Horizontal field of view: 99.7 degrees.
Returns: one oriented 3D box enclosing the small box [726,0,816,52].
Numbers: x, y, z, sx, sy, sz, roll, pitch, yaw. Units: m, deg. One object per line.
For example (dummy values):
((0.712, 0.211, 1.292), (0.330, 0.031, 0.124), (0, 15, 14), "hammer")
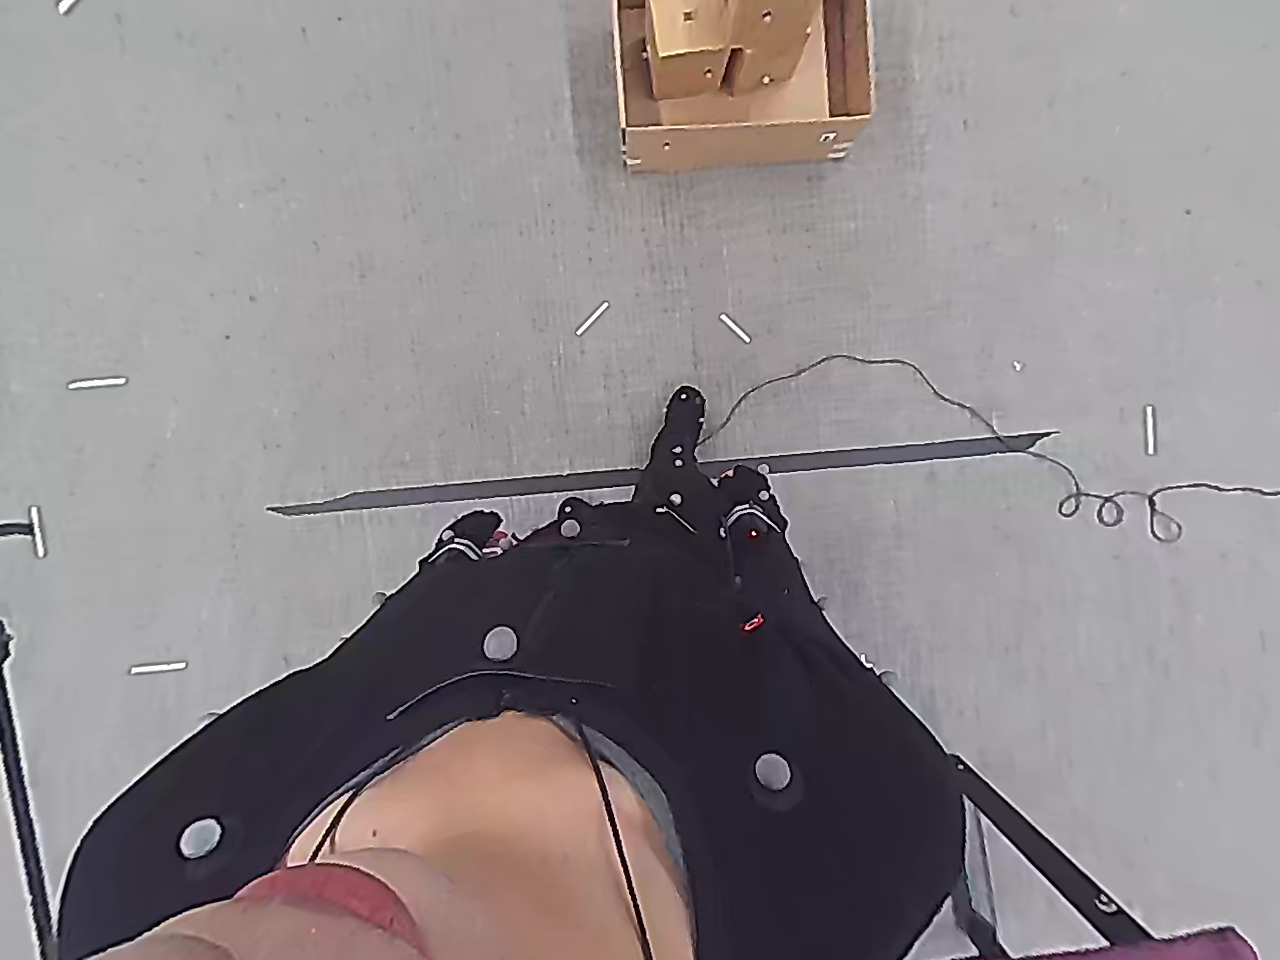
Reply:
((0.286, -1.079, 1.184), (0.179, 0.176, 0.168), (-1, 95, 0), "small box")
